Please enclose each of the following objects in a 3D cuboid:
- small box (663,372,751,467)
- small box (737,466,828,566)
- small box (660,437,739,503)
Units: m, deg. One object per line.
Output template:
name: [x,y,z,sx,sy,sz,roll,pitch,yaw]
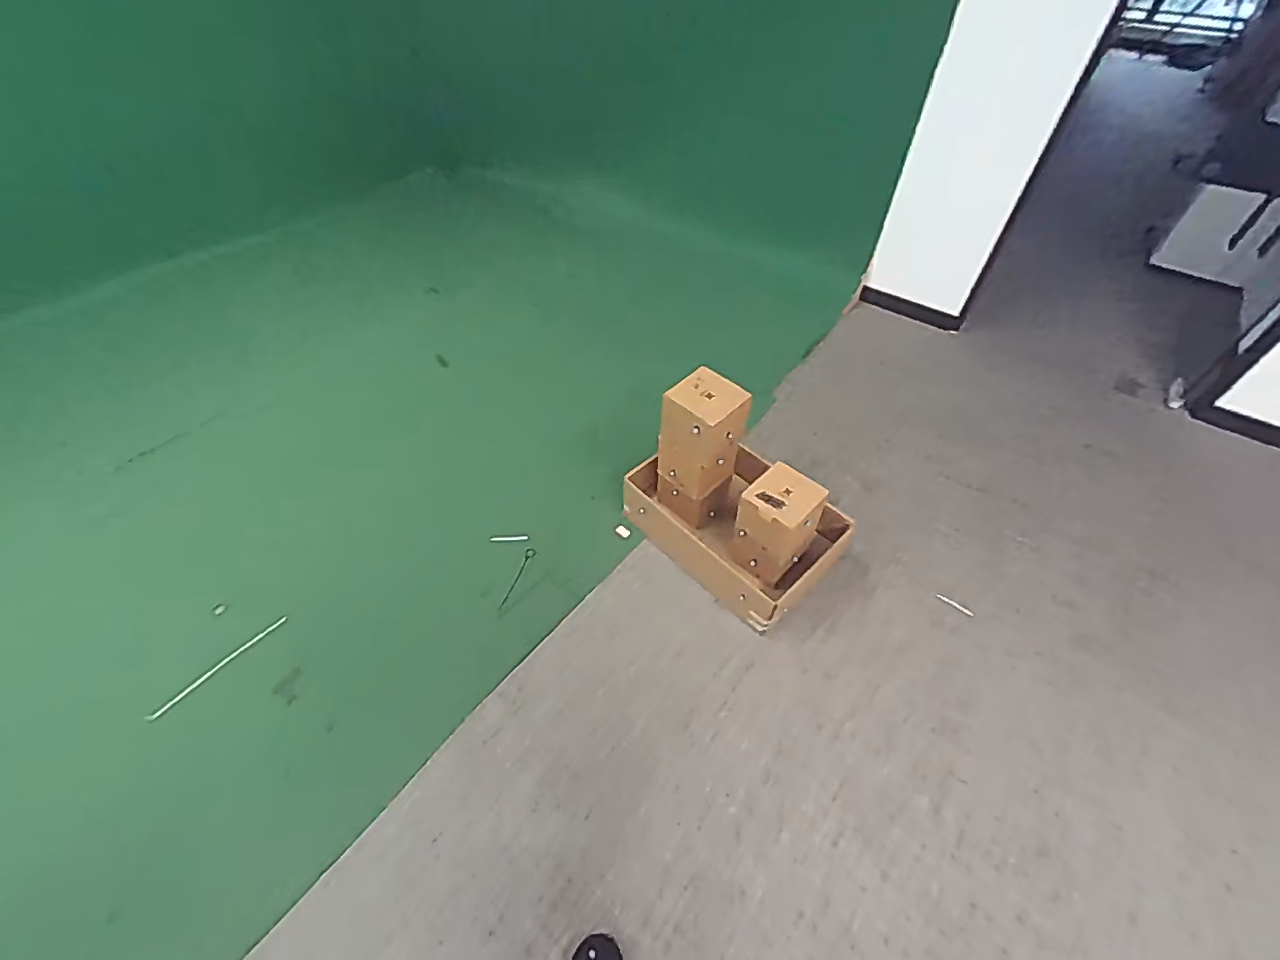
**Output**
small box: [0.180,-0.160,1.499,0.168,0.176,0.179,-38,60,-27]
small box: [0.383,0.102,1.487,0.179,0.176,0.168,-37,58,-28]
small box: [0.173,-0.065,1.634,0.179,0.176,0.168,-37,60,-26]
